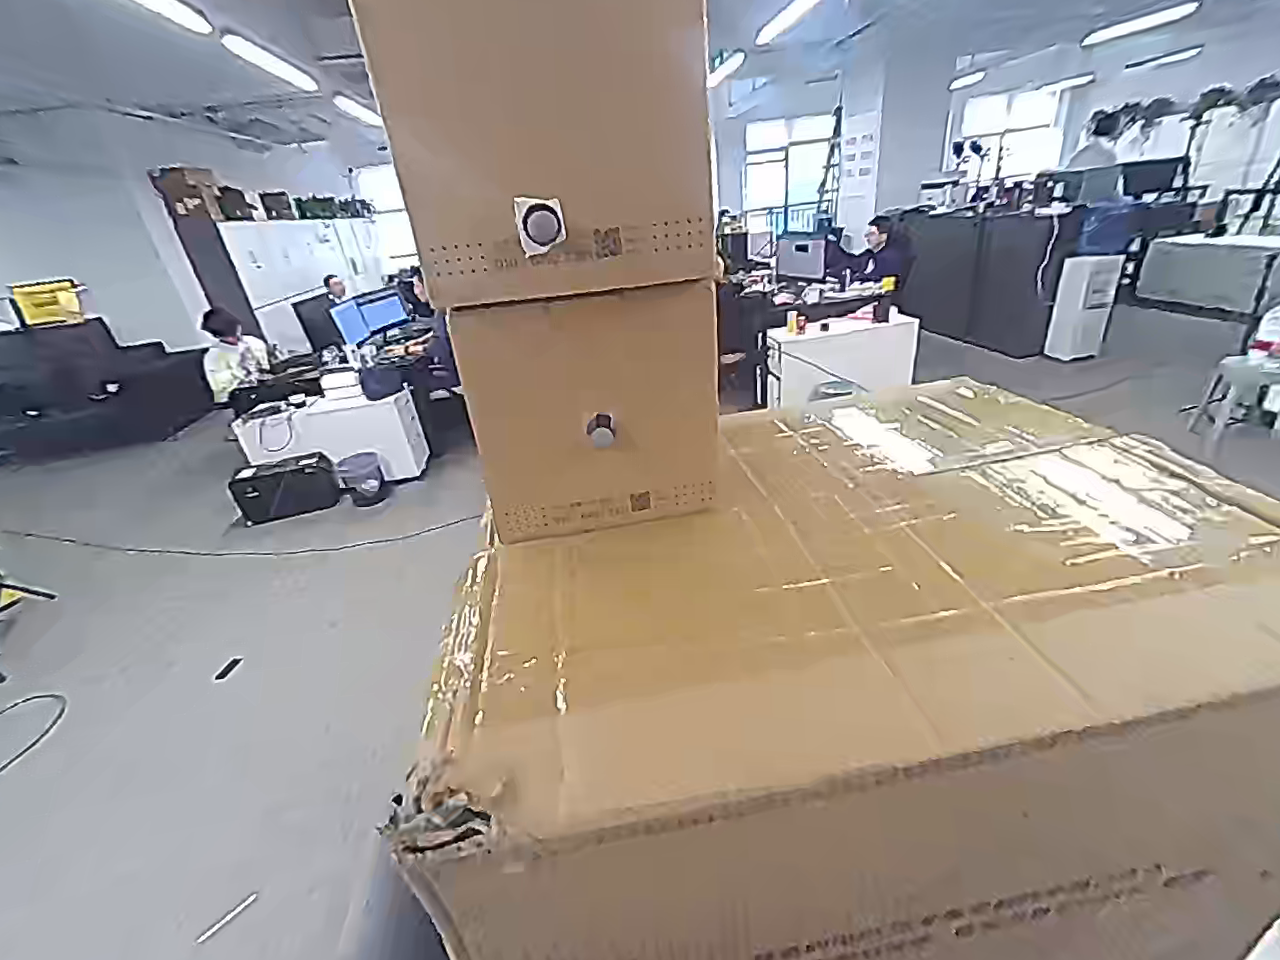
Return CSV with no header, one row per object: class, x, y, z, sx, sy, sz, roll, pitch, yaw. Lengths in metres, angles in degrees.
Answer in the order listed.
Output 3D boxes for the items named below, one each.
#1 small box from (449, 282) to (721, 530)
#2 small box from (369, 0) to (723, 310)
small box,-0.035,-0.071,0.432,0.168,0.176,0.179,-9,27,-5
small box,-0.048,-0.211,0.345,0.168,0.176,0.179,-9,27,-3
